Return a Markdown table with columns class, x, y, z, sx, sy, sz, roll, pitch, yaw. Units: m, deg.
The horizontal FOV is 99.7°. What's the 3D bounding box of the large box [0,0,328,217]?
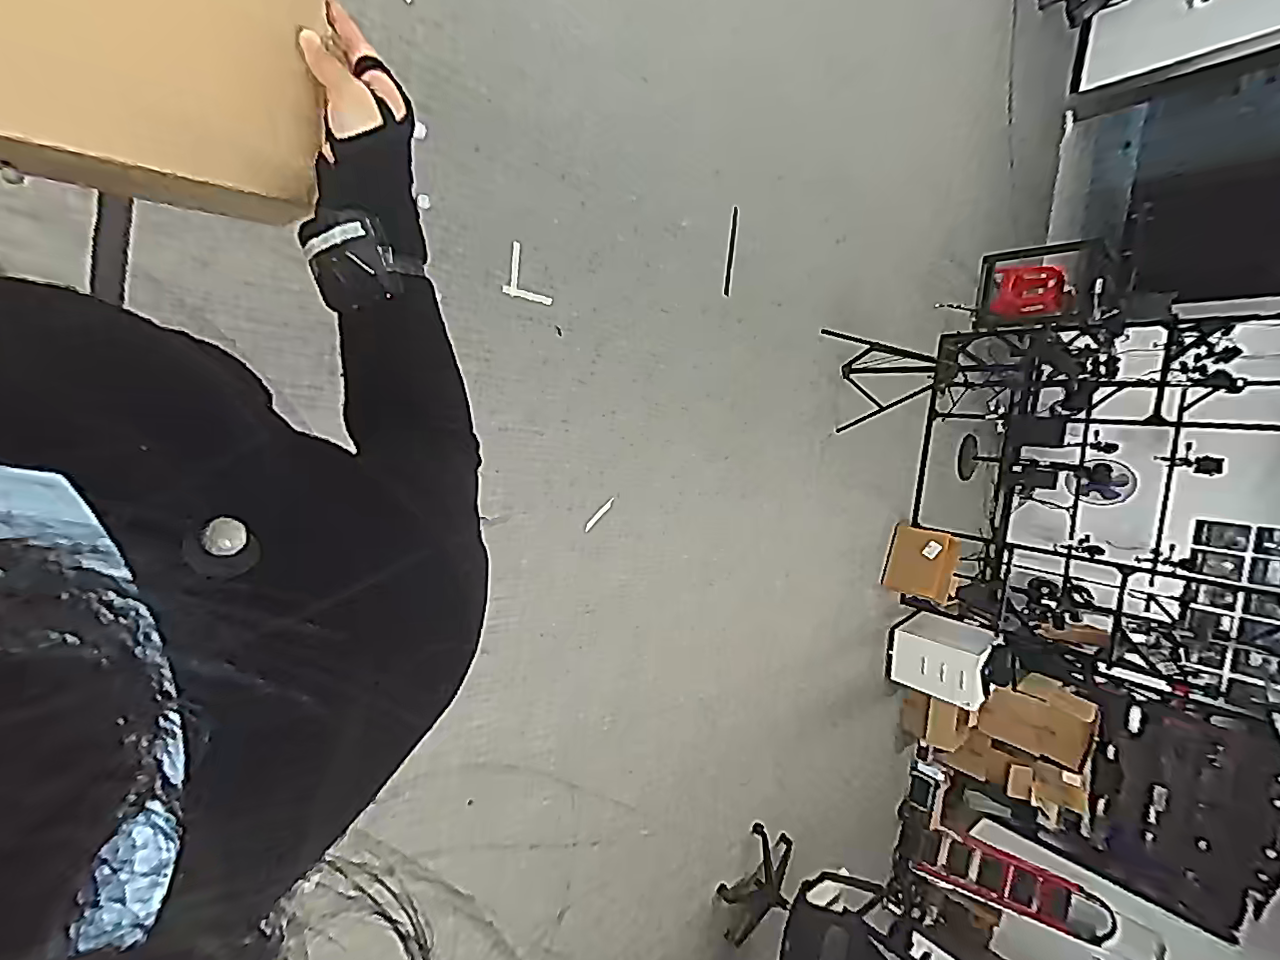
| class | x | y | z | sx | sy | sz | roll | pitch | yaw |
| --- | --- | --- | --- | --- | --- | --- | --- | --- | --- |
| large box | -0.488 | -0.410 | 0.405 | 0.408 | 0.320 | 0.320 | -4 | 109 | -38 |
